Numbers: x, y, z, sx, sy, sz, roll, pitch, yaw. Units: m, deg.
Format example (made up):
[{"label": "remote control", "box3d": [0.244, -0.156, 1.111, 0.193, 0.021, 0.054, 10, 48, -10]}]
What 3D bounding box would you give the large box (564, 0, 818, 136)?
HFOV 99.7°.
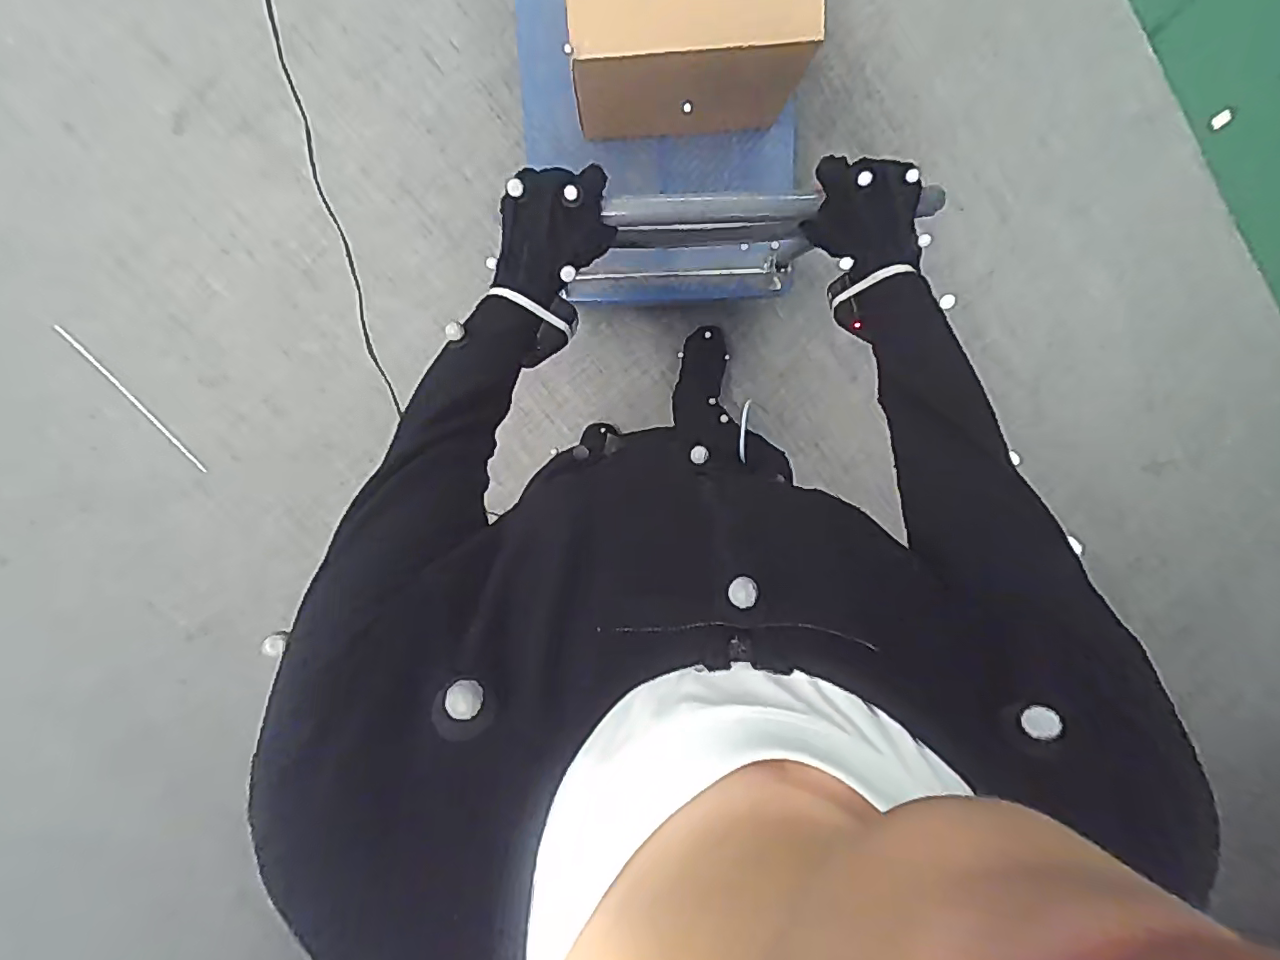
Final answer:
[{"label": "large box", "box3d": [0.071, -0.869, 0.981, 0.408, 0.320, 0.320, -6, 101, 0]}]
